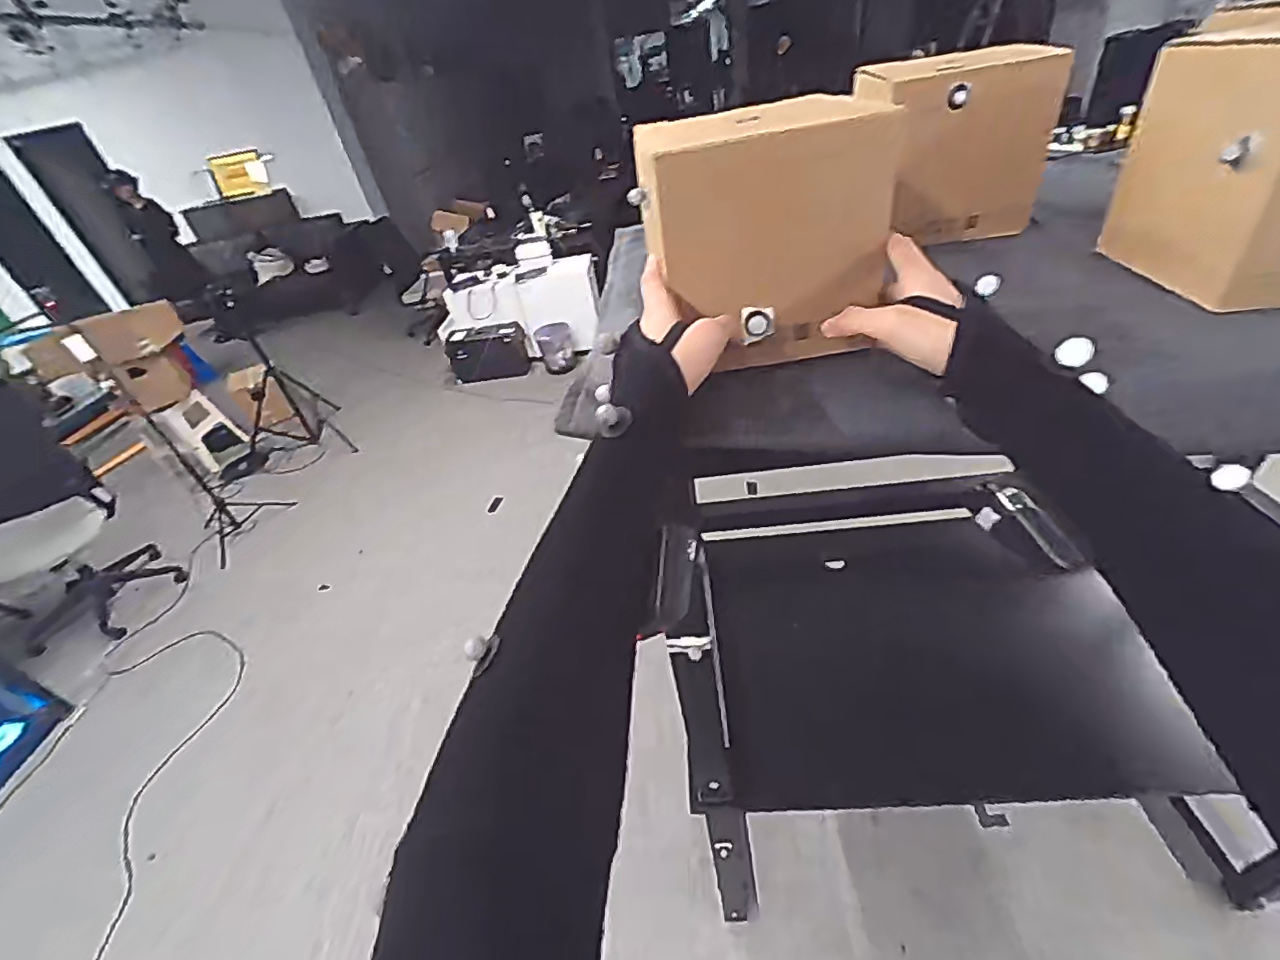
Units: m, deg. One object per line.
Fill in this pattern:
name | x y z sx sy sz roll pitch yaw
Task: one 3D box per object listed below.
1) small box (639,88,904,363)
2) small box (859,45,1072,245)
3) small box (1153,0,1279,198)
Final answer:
small box | 0.094 -0.217 0.460 0.168 0.176 0.179 -9 36 2
small box | 0.353 -0.393 0.641 0.168 0.176 0.179 -4 38 11
small box | 0.725 -0.413 0.578 0.168 0.176 0.179 -7 37 4
